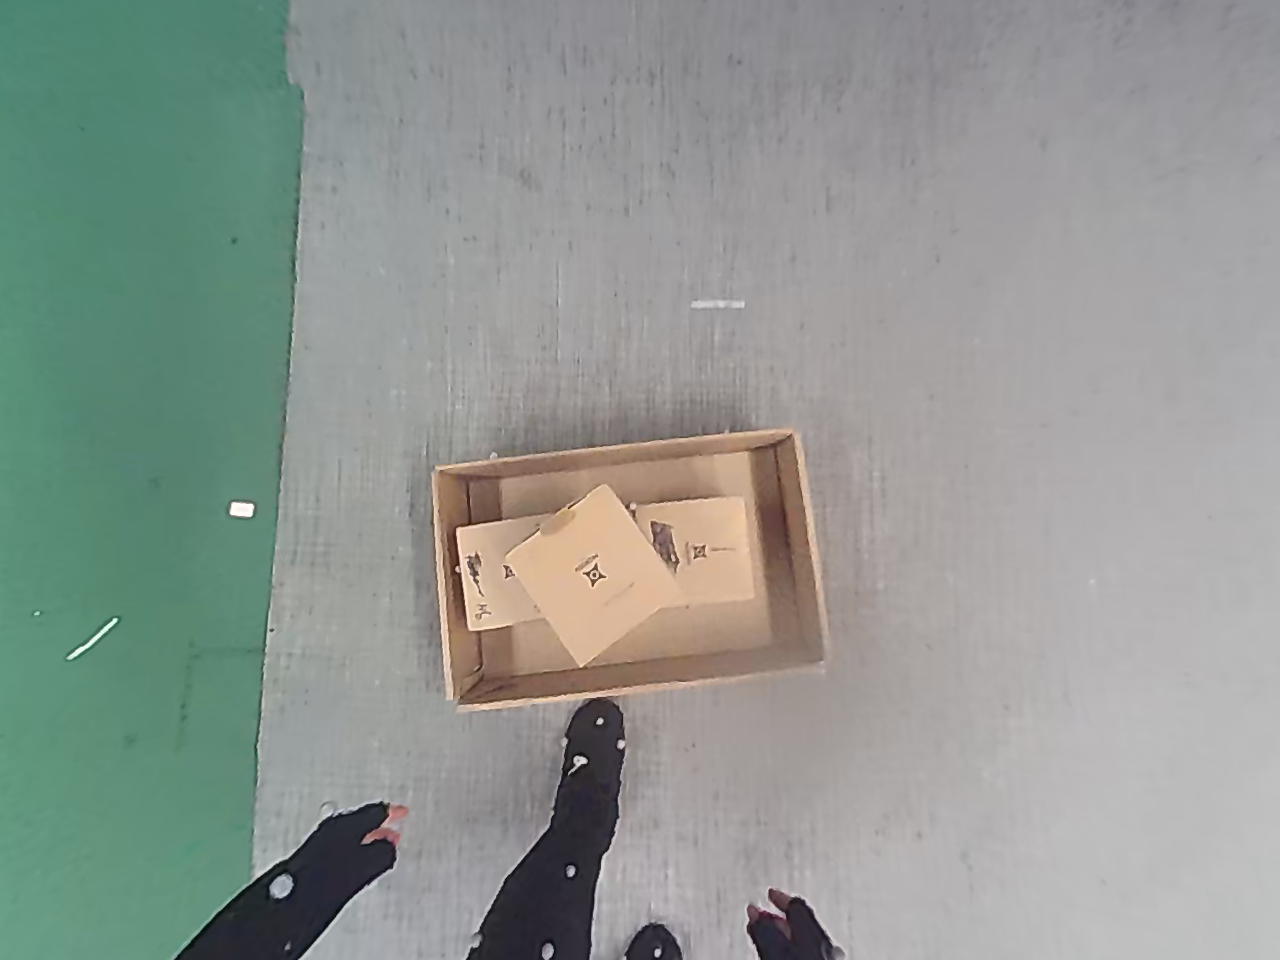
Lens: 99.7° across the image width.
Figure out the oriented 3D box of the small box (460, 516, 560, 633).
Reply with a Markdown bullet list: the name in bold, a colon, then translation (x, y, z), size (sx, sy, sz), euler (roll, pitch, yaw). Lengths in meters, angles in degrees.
- **small box**: translation (-0.193, 0.156, 0.935), size (0.179, 0.176, 0.168), euler (-9, 84, -2)

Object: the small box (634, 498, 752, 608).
- **small box**: translation (0.086, 0.124, 0.933), size (0.179, 0.176, 0.168), euler (-5, 85, 1)

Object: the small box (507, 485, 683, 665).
- **small box**: translation (-0.059, 0.128, 0.774), size (0.168, 0.176, 0.179), euler (-37, 86, -2)
